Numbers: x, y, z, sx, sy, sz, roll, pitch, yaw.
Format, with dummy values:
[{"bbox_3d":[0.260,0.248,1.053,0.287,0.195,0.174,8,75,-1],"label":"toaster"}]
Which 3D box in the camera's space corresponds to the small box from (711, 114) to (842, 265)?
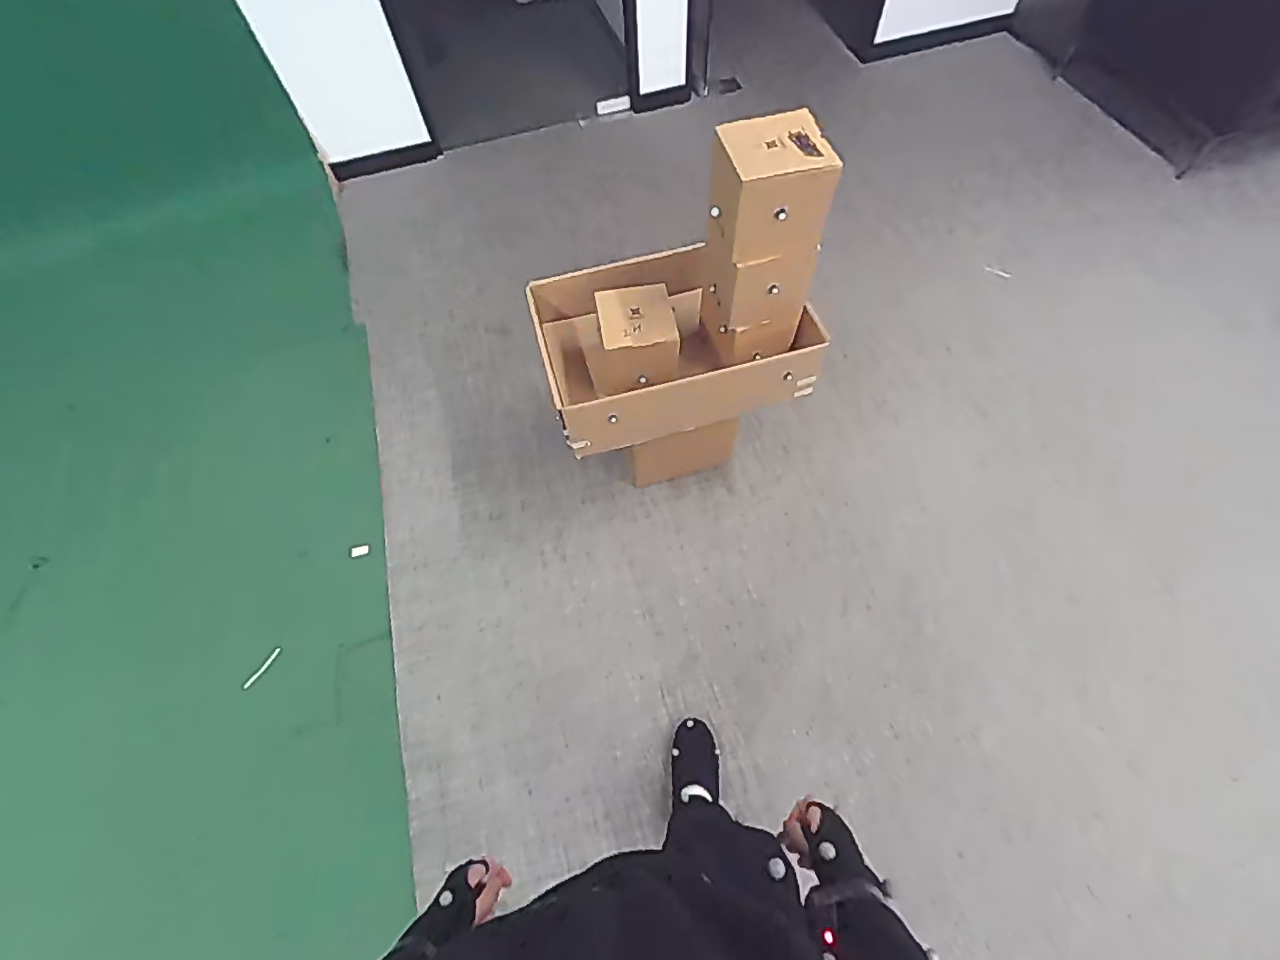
[{"bbox_3d":[0.238,-0.526,0.991,0.179,0.176,0.168,-12,62,-3],"label":"small box"}]
